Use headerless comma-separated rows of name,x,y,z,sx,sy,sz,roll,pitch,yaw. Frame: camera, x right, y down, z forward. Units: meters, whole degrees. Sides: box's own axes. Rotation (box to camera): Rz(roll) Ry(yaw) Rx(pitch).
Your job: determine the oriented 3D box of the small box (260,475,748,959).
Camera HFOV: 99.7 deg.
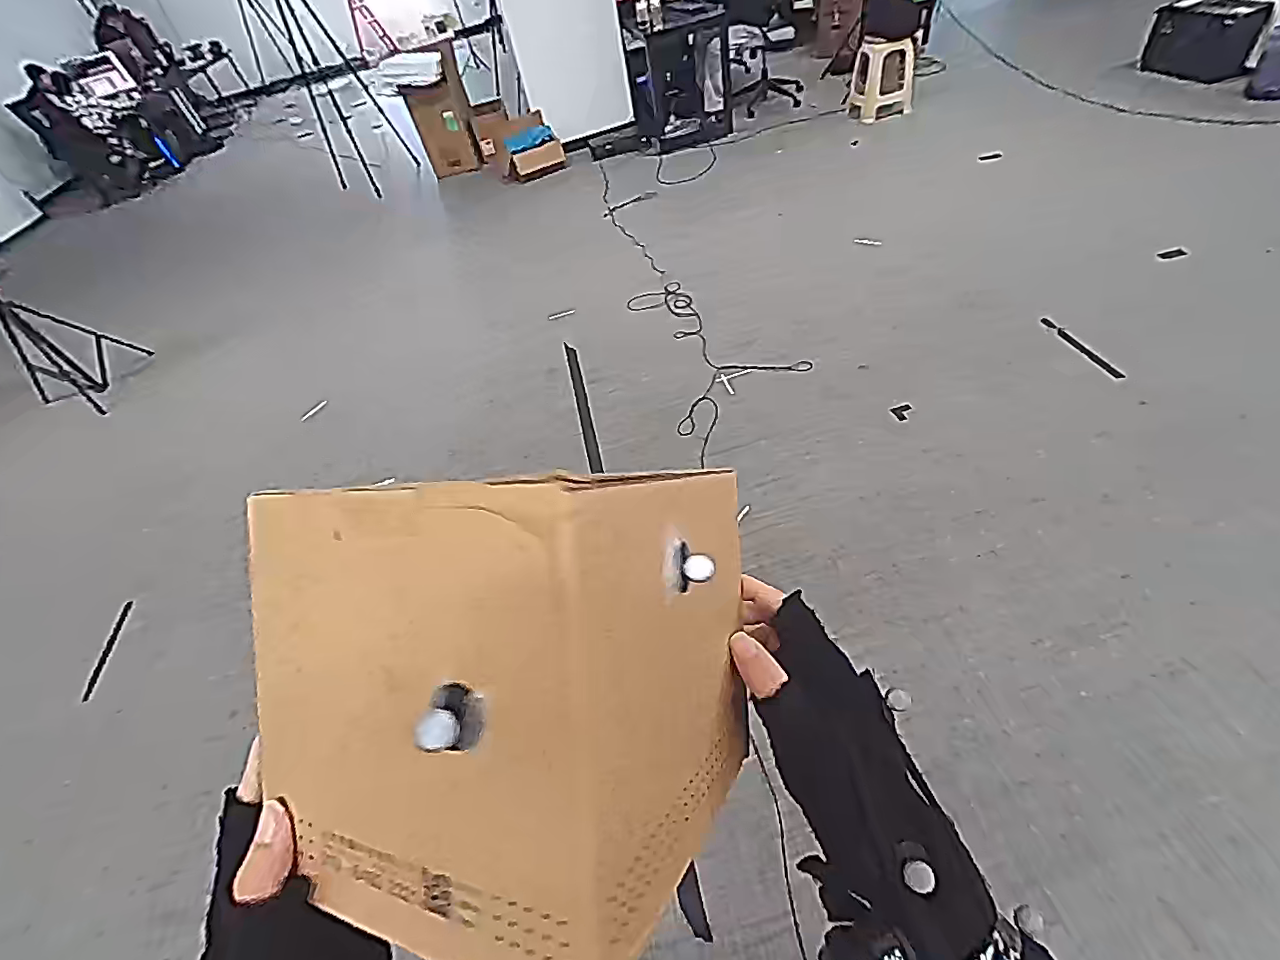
small box,-0.049,0.090,0.271,0.168,0.179,0.176,-3,90,29
